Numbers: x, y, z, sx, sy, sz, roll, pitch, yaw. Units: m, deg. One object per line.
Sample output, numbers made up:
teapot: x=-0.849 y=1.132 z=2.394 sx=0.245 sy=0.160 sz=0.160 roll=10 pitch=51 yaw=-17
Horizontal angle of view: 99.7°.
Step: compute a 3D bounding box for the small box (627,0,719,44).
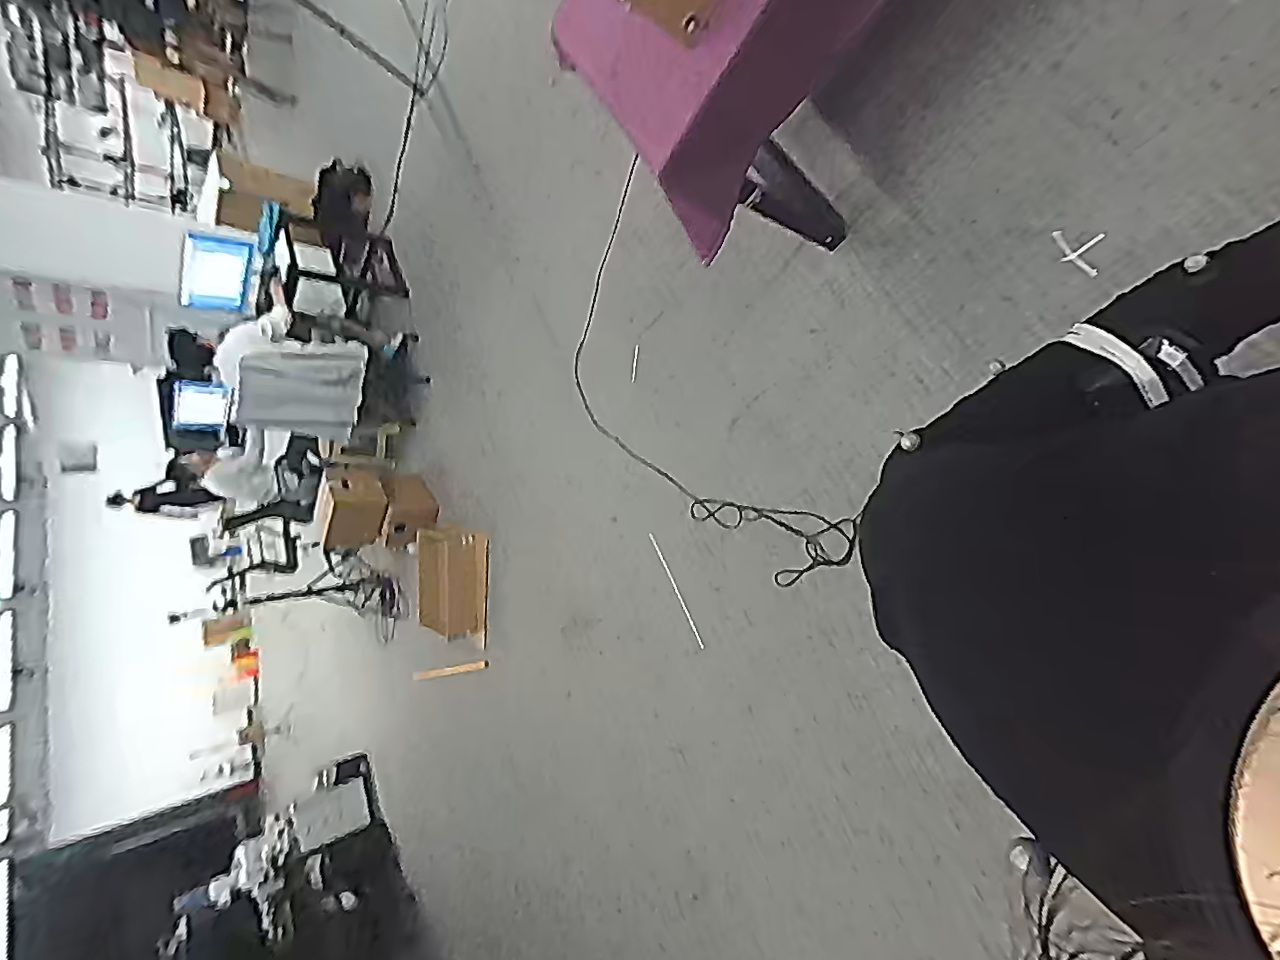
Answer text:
small box: x=0.051 y=-0.919 z=0.947 sx=0.168 sy=0.176 sz=0.179 roll=-46 pitch=59 yaw=37
